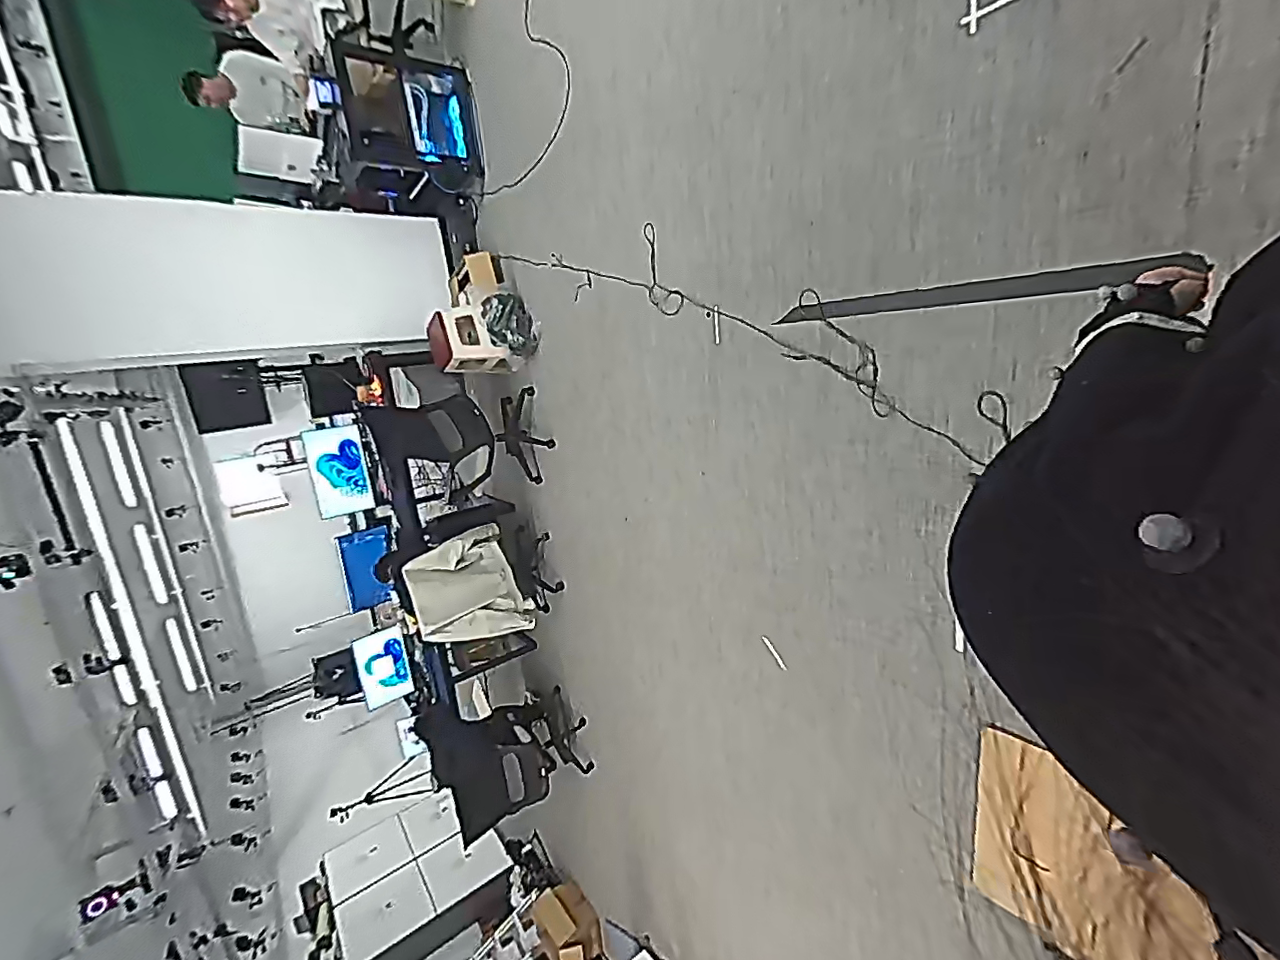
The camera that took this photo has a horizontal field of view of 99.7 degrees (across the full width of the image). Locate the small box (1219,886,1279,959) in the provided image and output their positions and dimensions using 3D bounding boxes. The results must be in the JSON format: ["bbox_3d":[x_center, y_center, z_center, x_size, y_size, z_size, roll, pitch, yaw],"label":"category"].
[{"bbox_3d":[1.293,0.970,1.074,0.168,0.176,0.179,-11,93,55],"label":"small box"}]

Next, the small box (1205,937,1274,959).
[{"bbox_3d":[1.160,1.012,0.986,0.168,0.176,0.179,-10,94,53],"label":"small box"}]
